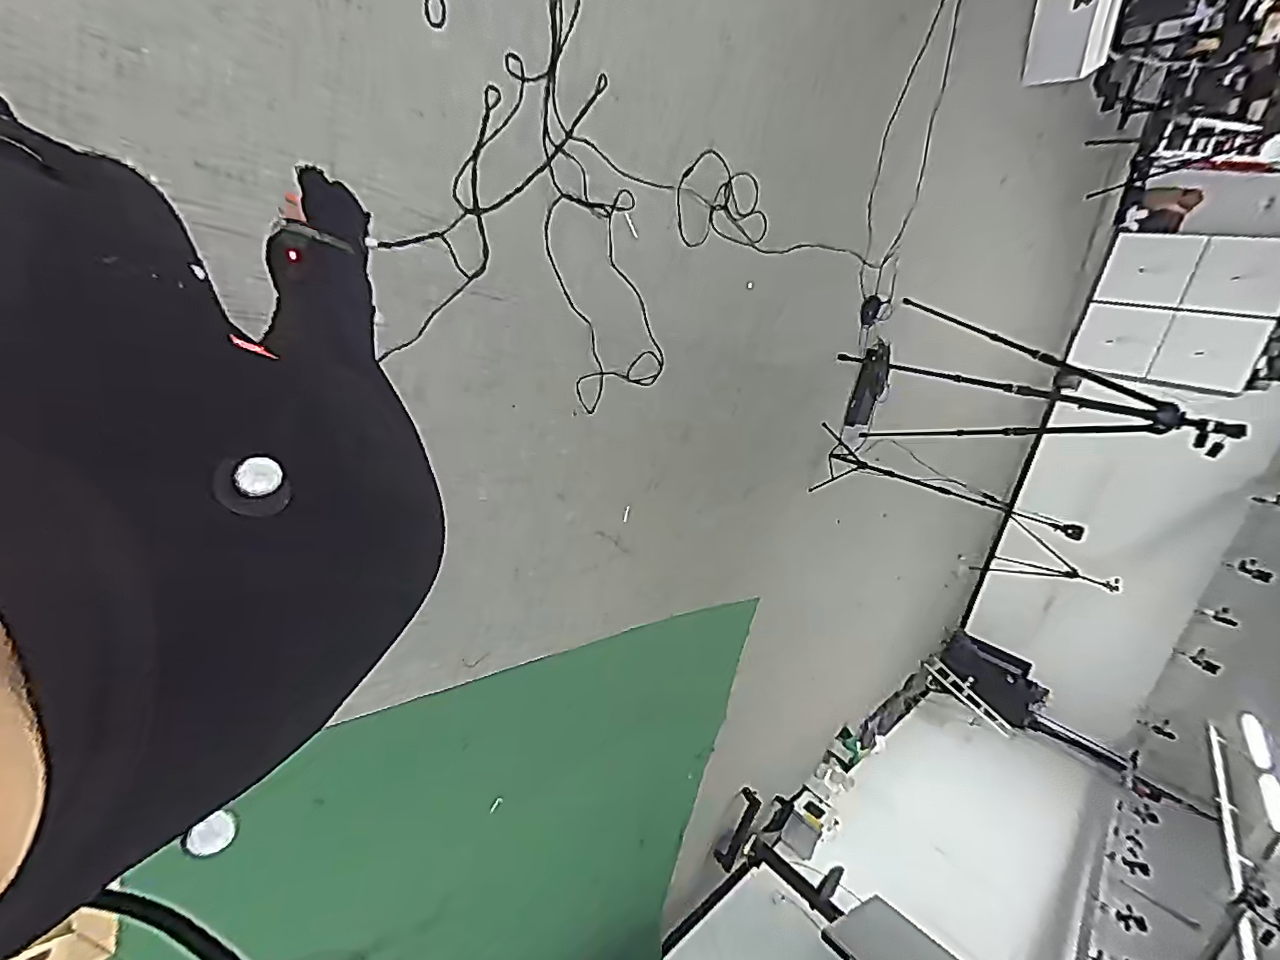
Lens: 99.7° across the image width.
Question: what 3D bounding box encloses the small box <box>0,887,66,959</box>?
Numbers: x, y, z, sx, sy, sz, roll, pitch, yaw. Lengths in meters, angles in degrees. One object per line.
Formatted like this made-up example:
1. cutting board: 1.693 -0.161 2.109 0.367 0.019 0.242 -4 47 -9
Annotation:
1. small box: -1.370 1.033 1.168 0.168 0.176 0.179 3 108 -48
